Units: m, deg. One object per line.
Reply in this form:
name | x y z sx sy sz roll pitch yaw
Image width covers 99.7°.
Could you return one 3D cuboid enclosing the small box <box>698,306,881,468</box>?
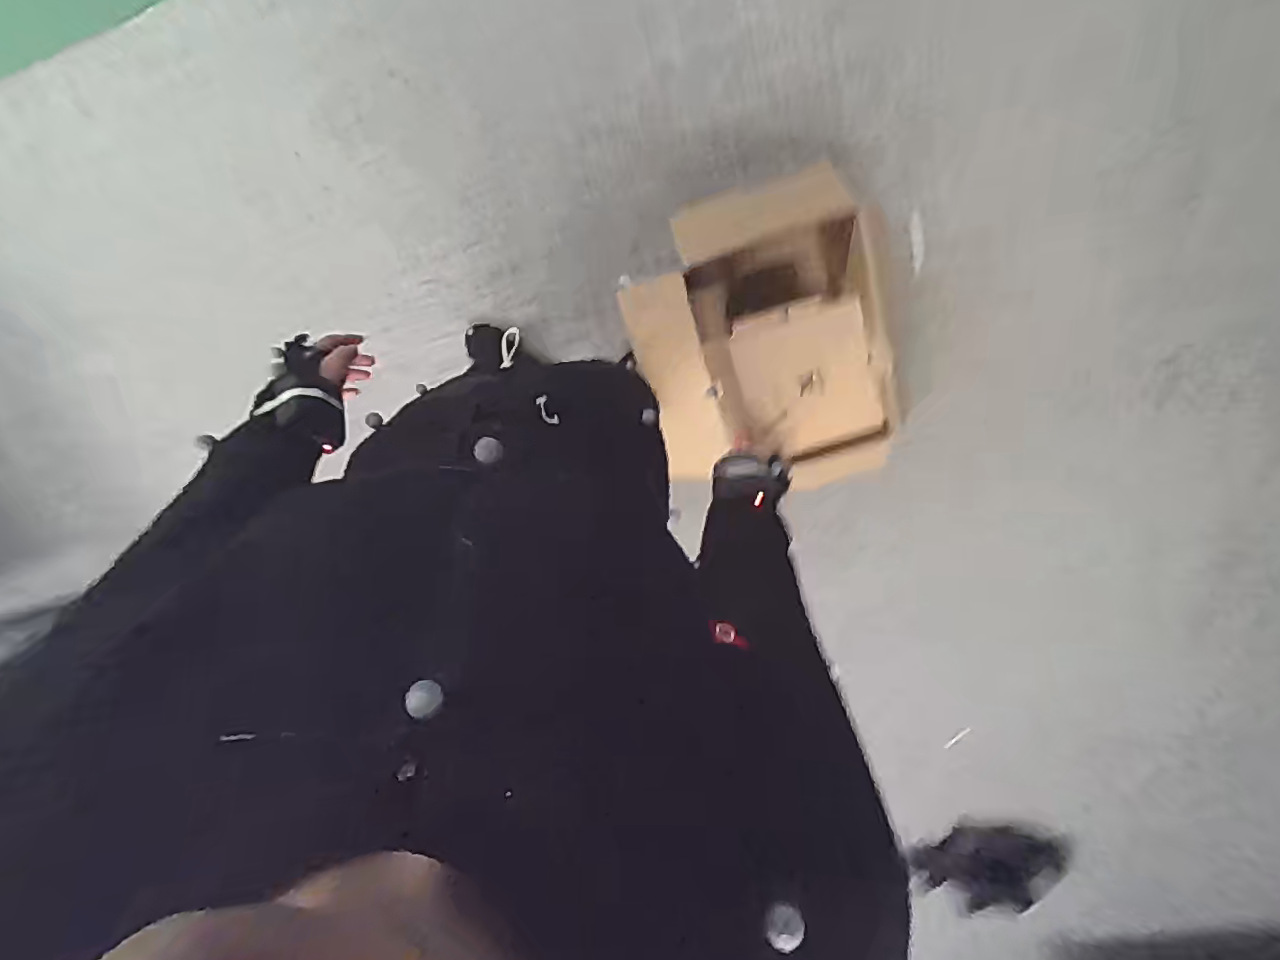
small box | 0.198 -0.132 0.753 0.179 0.176 0.168 -18 103 -3
